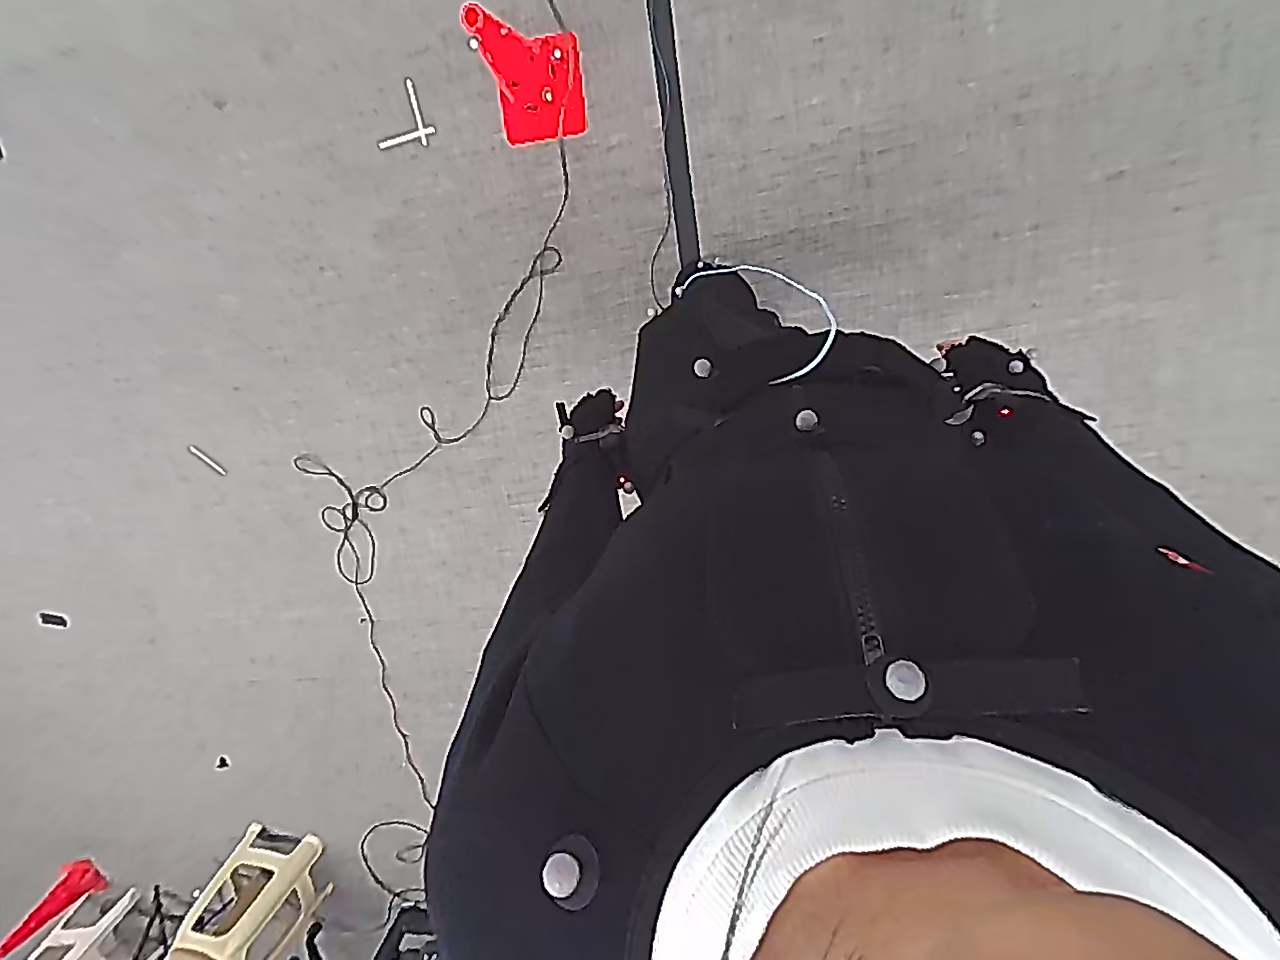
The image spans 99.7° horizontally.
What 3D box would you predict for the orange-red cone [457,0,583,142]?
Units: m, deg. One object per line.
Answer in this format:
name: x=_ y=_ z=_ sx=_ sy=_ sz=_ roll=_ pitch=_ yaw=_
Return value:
orange-red cone: x=-0.260 y=-0.833 z=1.063 sx=0.199 sy=0.360 sz=0.198 roll=-1 pitch=107 yaw=11
